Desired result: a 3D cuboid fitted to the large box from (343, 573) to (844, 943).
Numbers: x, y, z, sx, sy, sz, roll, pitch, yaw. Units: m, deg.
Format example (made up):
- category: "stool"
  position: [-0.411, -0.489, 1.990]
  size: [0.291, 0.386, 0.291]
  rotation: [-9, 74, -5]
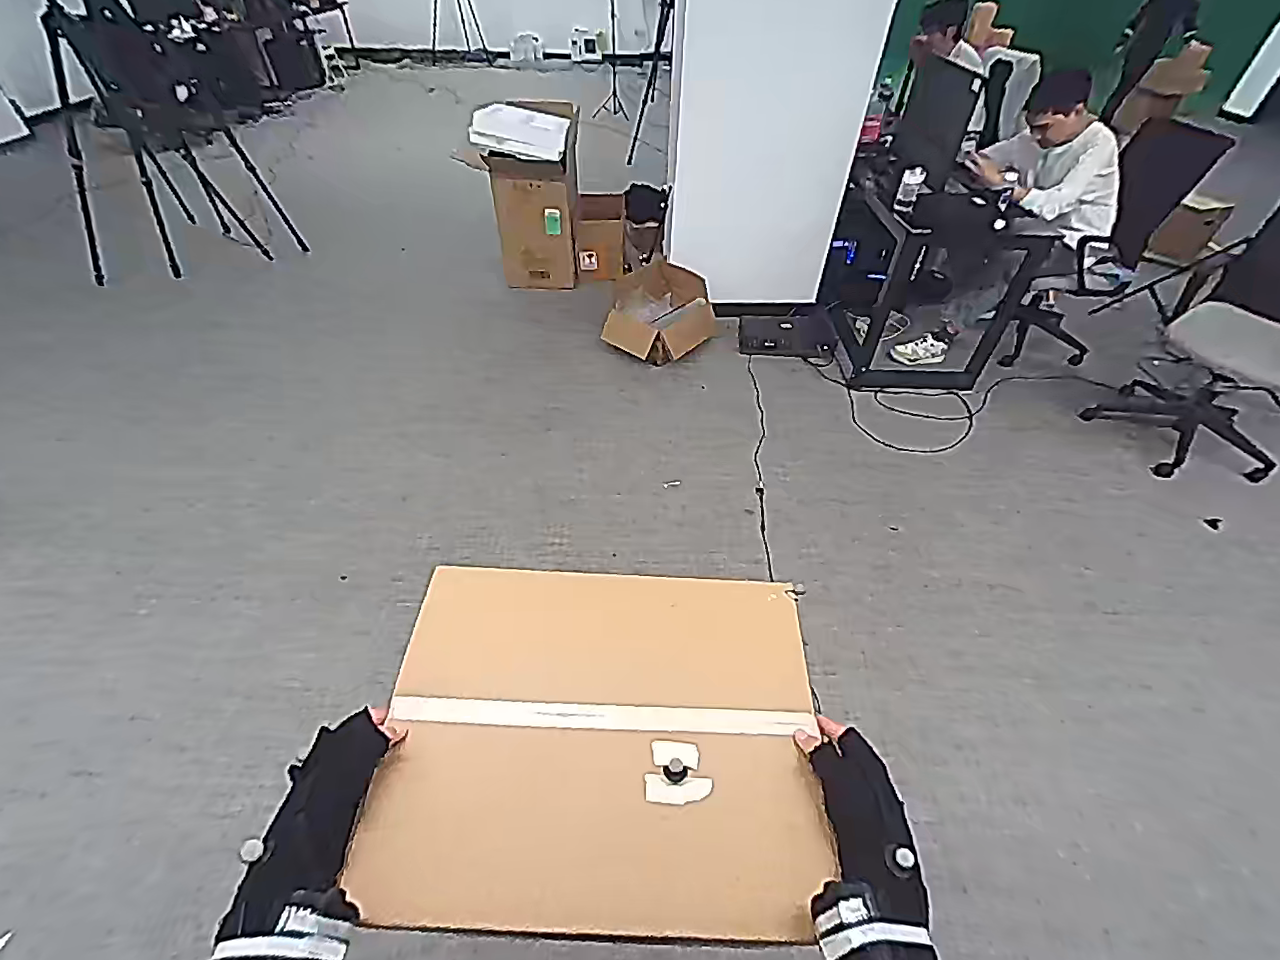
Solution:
- category: "large box"
  position: [-0.040, 0.328, 0.630]
  size: [0.408, 0.320, 0.320]
  rotation: [4, 49, -1]
